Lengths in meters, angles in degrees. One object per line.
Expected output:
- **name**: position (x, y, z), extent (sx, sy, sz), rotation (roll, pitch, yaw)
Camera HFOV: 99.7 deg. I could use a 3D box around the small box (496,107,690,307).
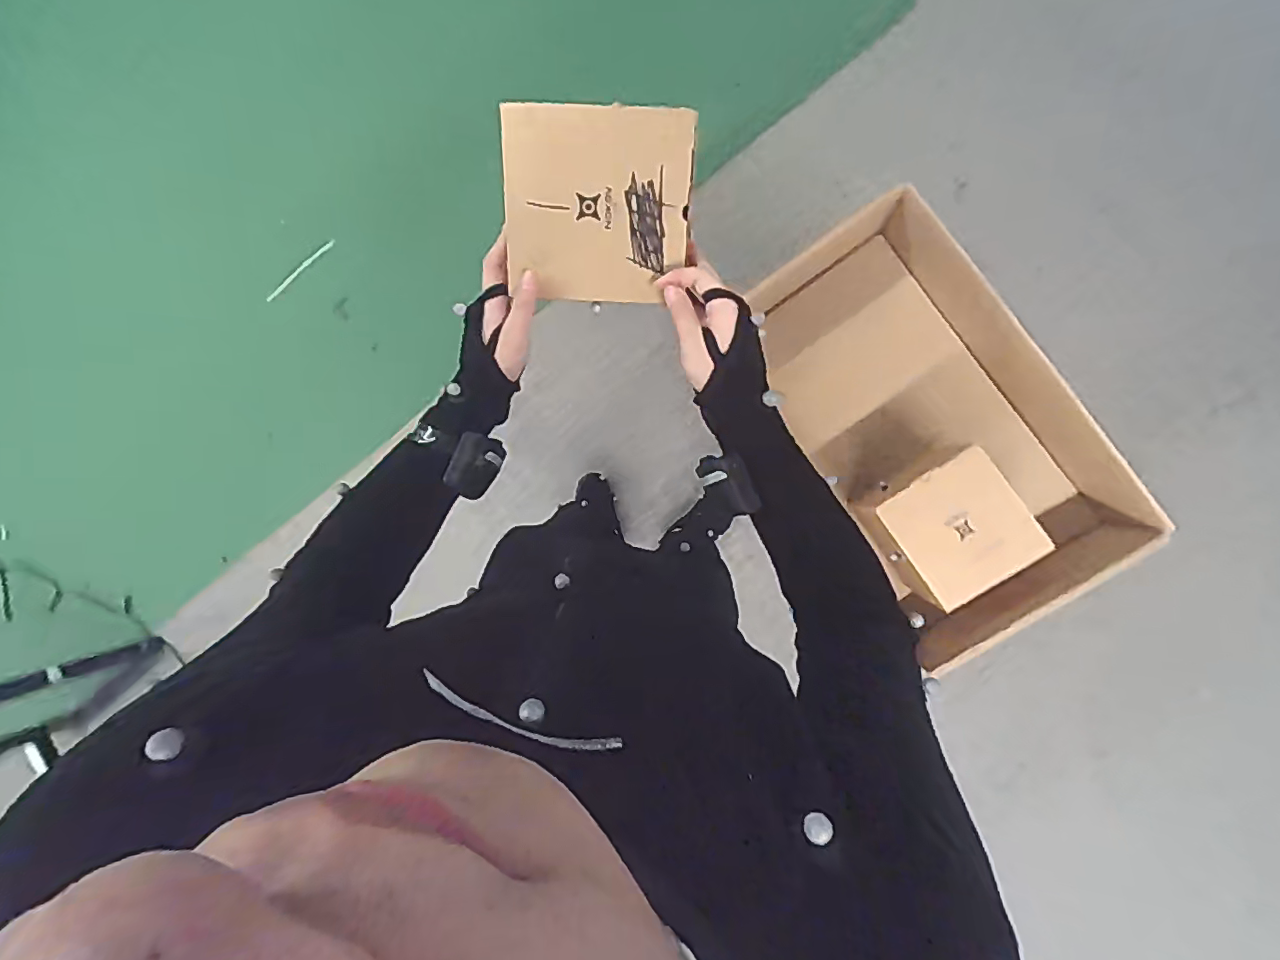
- **small box**: position (-0.042, -0.280, 0.580), extent (0.179, 0.176, 0.168), rotation (2, 111, 2)
